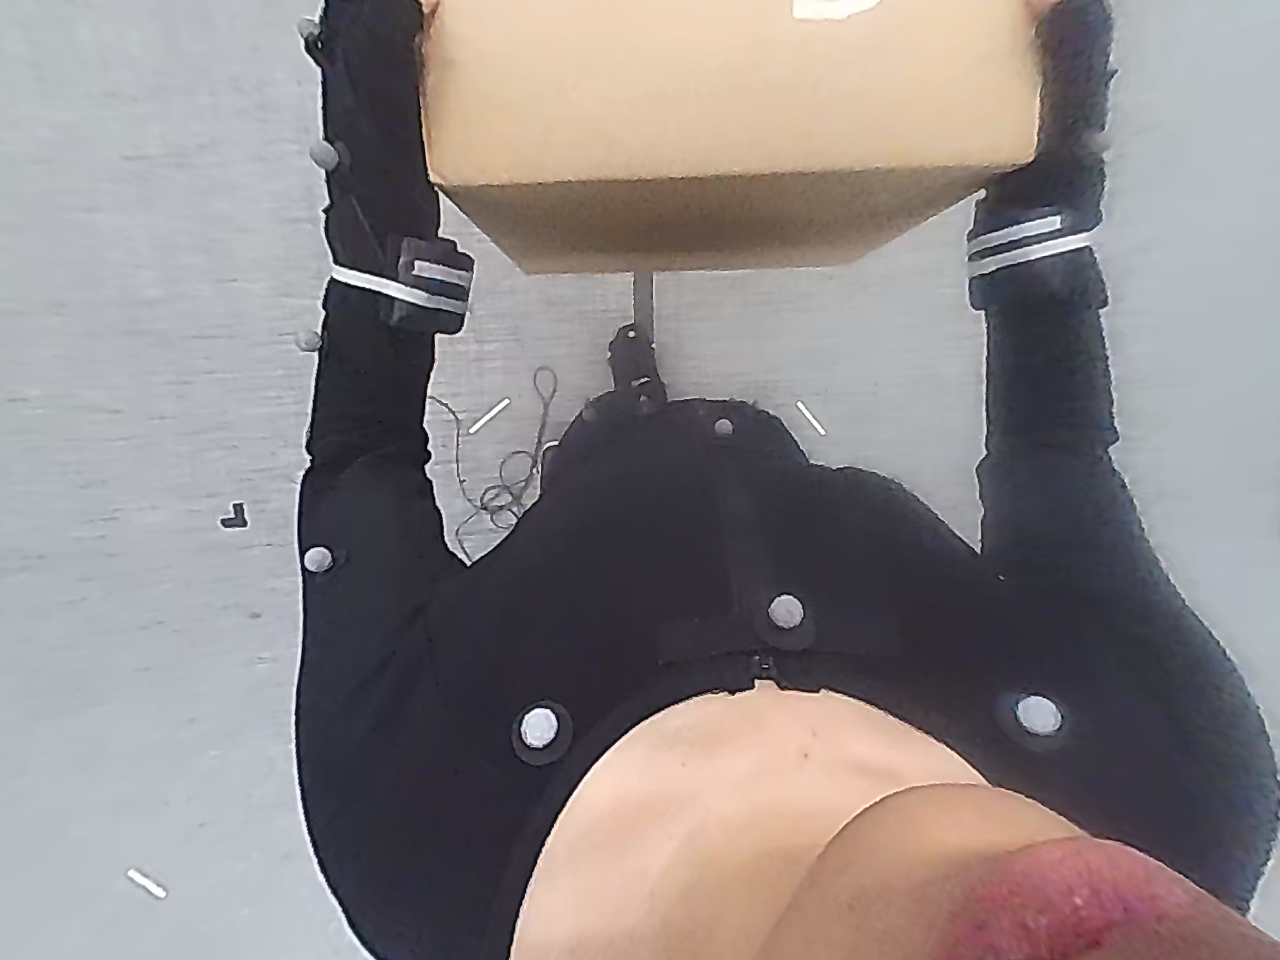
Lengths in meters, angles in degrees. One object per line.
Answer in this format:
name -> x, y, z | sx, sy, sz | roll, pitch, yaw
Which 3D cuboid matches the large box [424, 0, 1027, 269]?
large box -> 0.050, -0.394, 0.492 | 0.408, 0.320, 0.320 | -2, 100, 0
